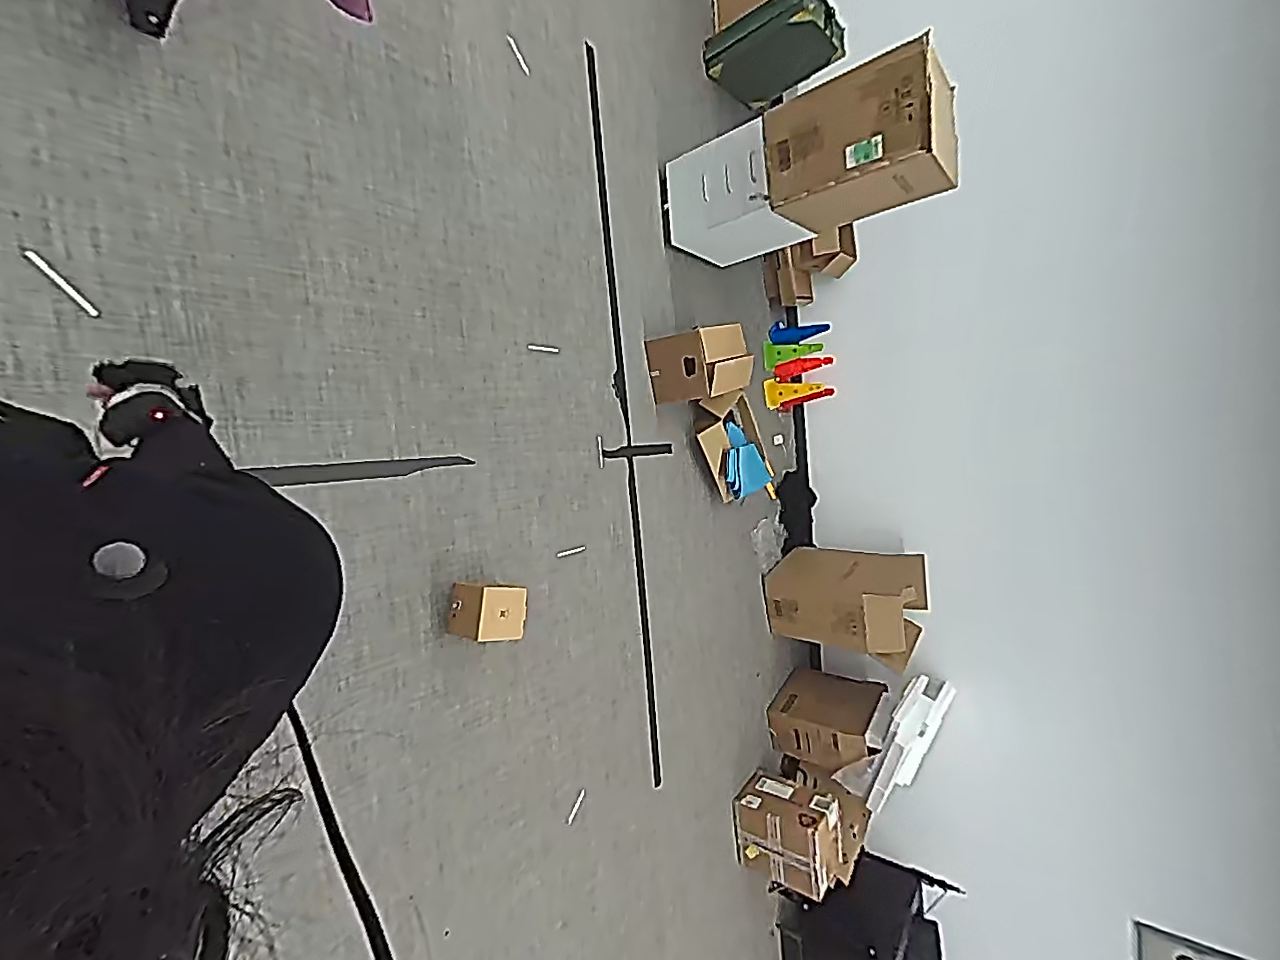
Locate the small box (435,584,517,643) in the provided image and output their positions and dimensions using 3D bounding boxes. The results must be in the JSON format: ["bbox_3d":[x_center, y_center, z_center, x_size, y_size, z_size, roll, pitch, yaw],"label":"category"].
[{"bbox_3d":[-0.526,0.426,1.738,0.179,0.176,0.168,16,75,-50],"label":"small box"}]
